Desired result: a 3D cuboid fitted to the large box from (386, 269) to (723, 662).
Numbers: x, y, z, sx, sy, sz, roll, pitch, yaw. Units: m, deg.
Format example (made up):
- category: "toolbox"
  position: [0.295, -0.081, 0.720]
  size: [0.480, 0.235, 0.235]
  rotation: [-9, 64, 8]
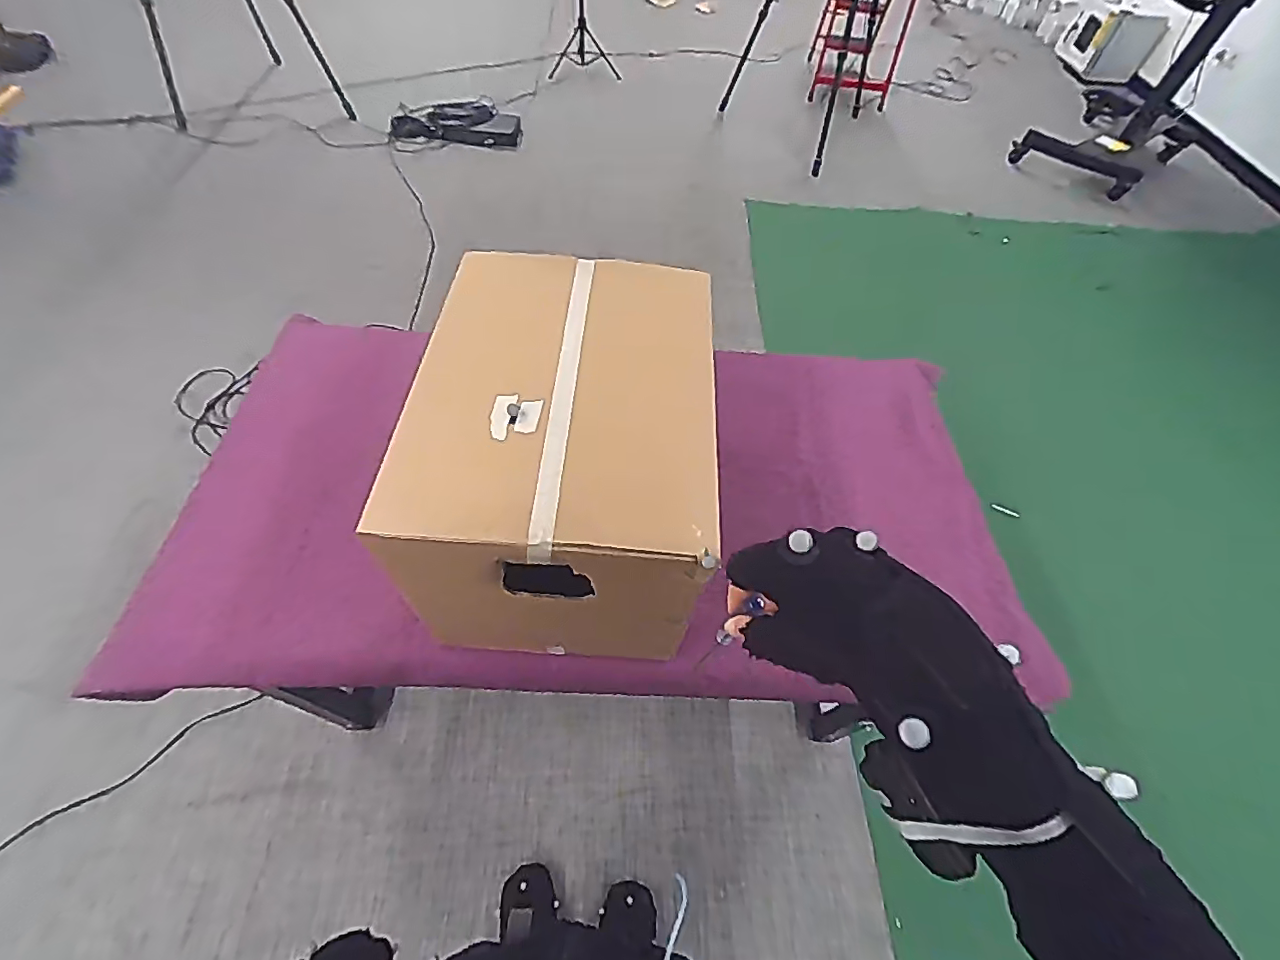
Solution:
- category: "large box"
  position: [-0.080, -0.012, 0.716]
  size: [0.320, 0.320, 0.408]
  rotation: [5, 56, -1]
